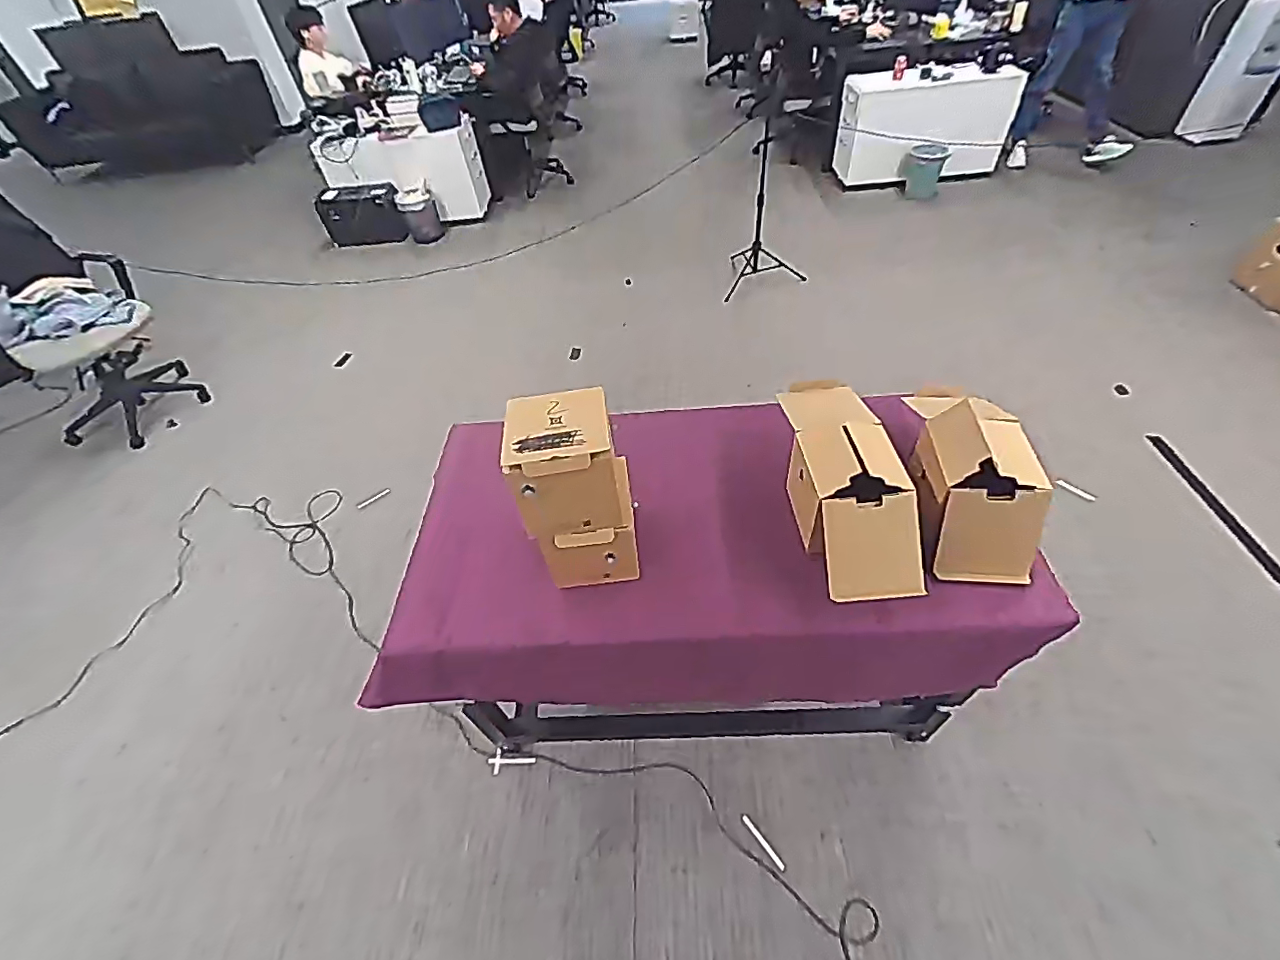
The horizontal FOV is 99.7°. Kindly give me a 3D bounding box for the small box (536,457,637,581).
[{"bbox_3d":[-0.097,0.081,1.037,0.168,0.176,0.179,-6,48,0],"label":"small box"}]

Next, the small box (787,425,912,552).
[{"bbox_3d":[0.387,0.018,1.038,0.168,0.176,0.179,-5,48,3],"label":"small box"}]
